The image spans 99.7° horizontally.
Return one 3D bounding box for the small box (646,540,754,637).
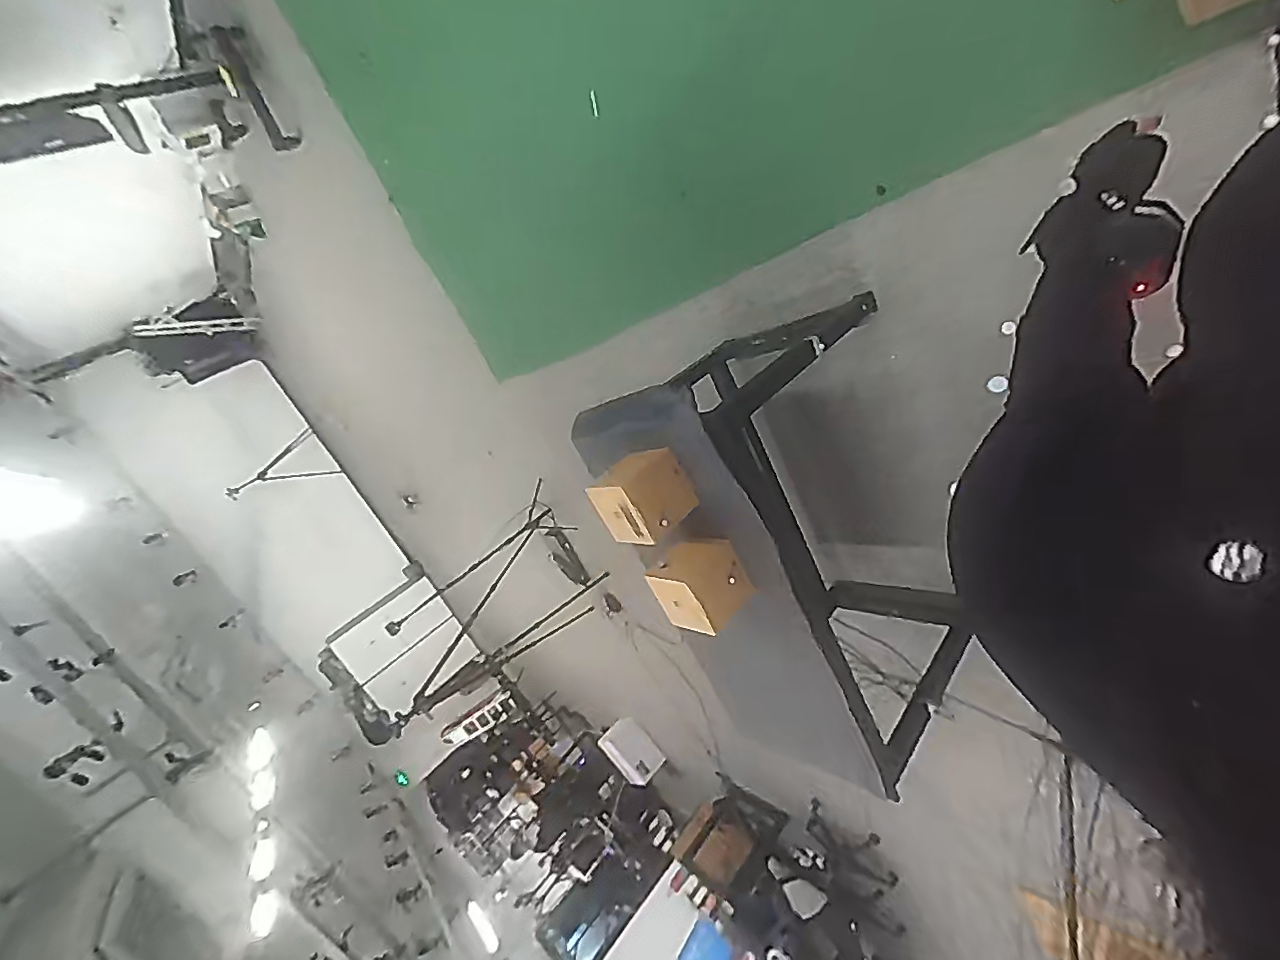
[{"bbox_3d":[0.154,0.265,1.366,0.179,0.176,0.168,-5,119,55],"label":"small box"}]
